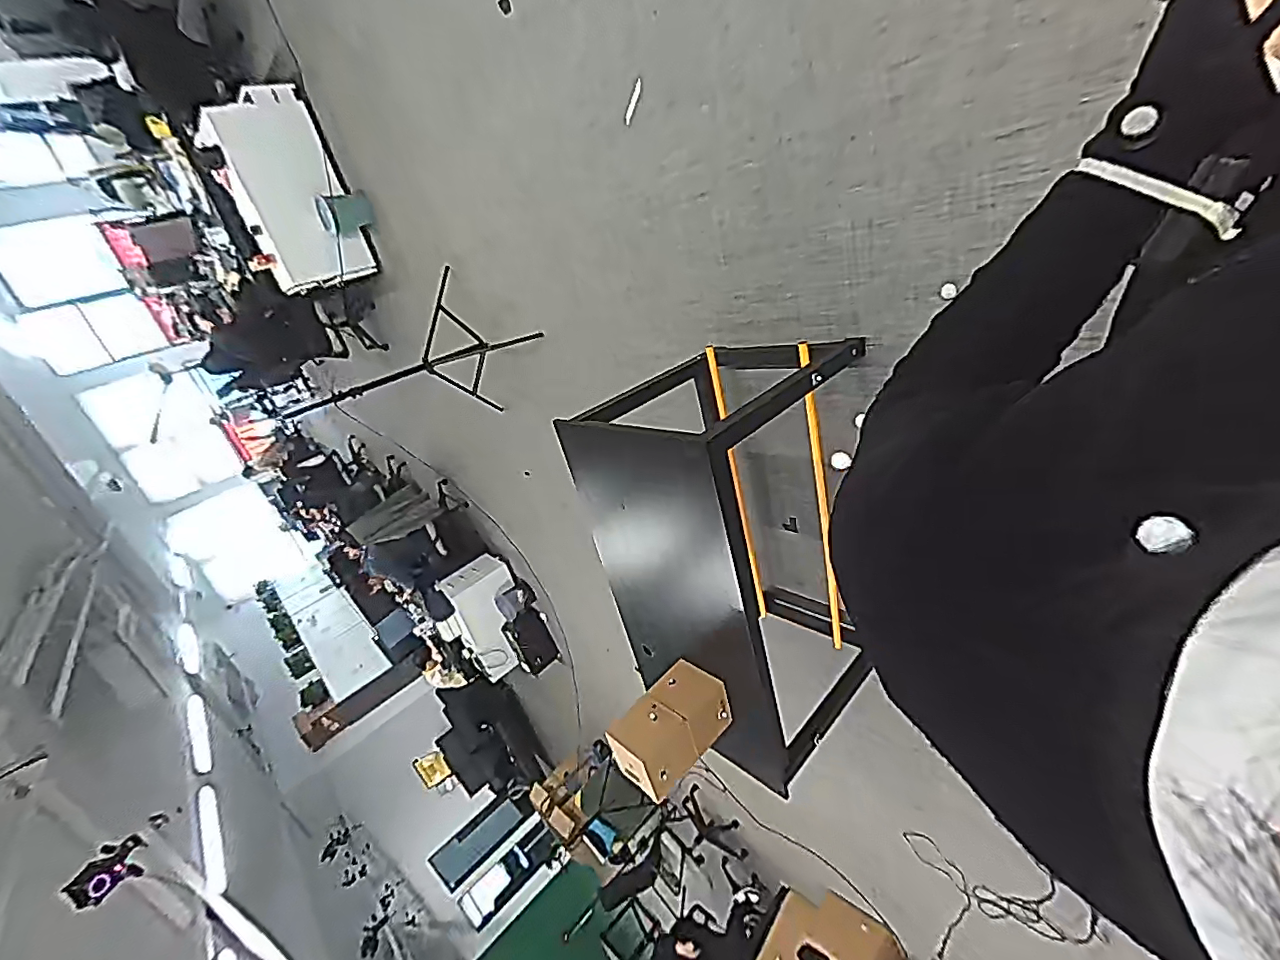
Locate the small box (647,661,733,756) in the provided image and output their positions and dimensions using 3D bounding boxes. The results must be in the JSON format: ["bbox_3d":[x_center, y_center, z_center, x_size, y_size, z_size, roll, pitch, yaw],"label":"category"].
[{"bbox_3d":[0.152,0.676,1.629,0.179,0.176,0.168,13,128,47],"label":"small box"}]

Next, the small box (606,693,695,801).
[{"bbox_3d":[0.036,0.752,1.540,0.168,0.176,0.179,13,127,48],"label":"small box"}]
